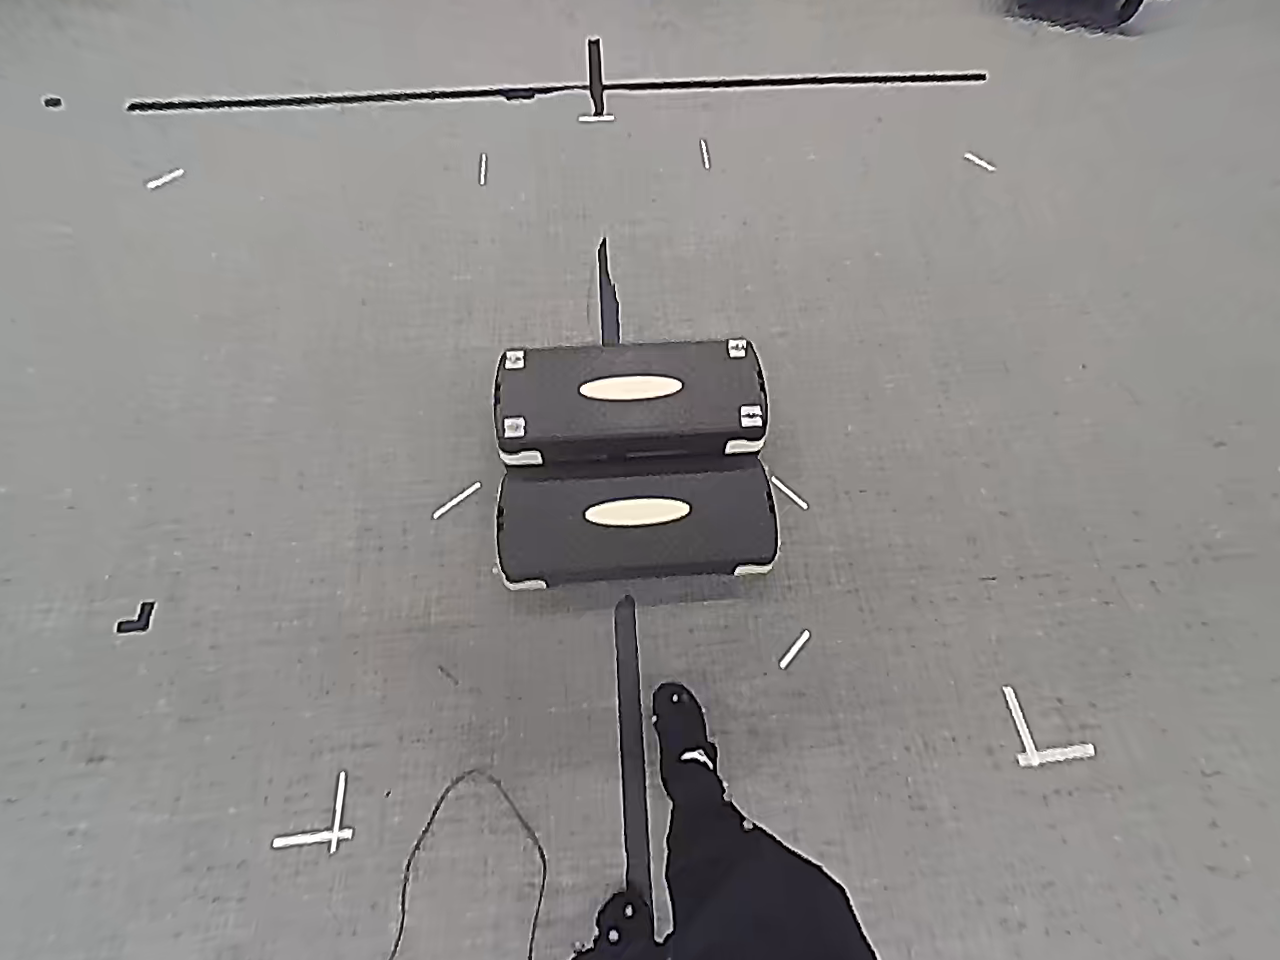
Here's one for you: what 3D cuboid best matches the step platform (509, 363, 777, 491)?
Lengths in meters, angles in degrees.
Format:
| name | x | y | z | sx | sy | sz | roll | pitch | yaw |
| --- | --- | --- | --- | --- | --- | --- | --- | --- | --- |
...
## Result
| name | x | y | z | sx | sy | sz | roll | pitch | yaw |
| --- | --- | --- | --- | --- | --- | --- | --- | --- | --- |
| step platform | 0.006 | -0.139 | 1.411 | 0.684 | 0.204 | 0.286 | 1 | 63 | -2 |
